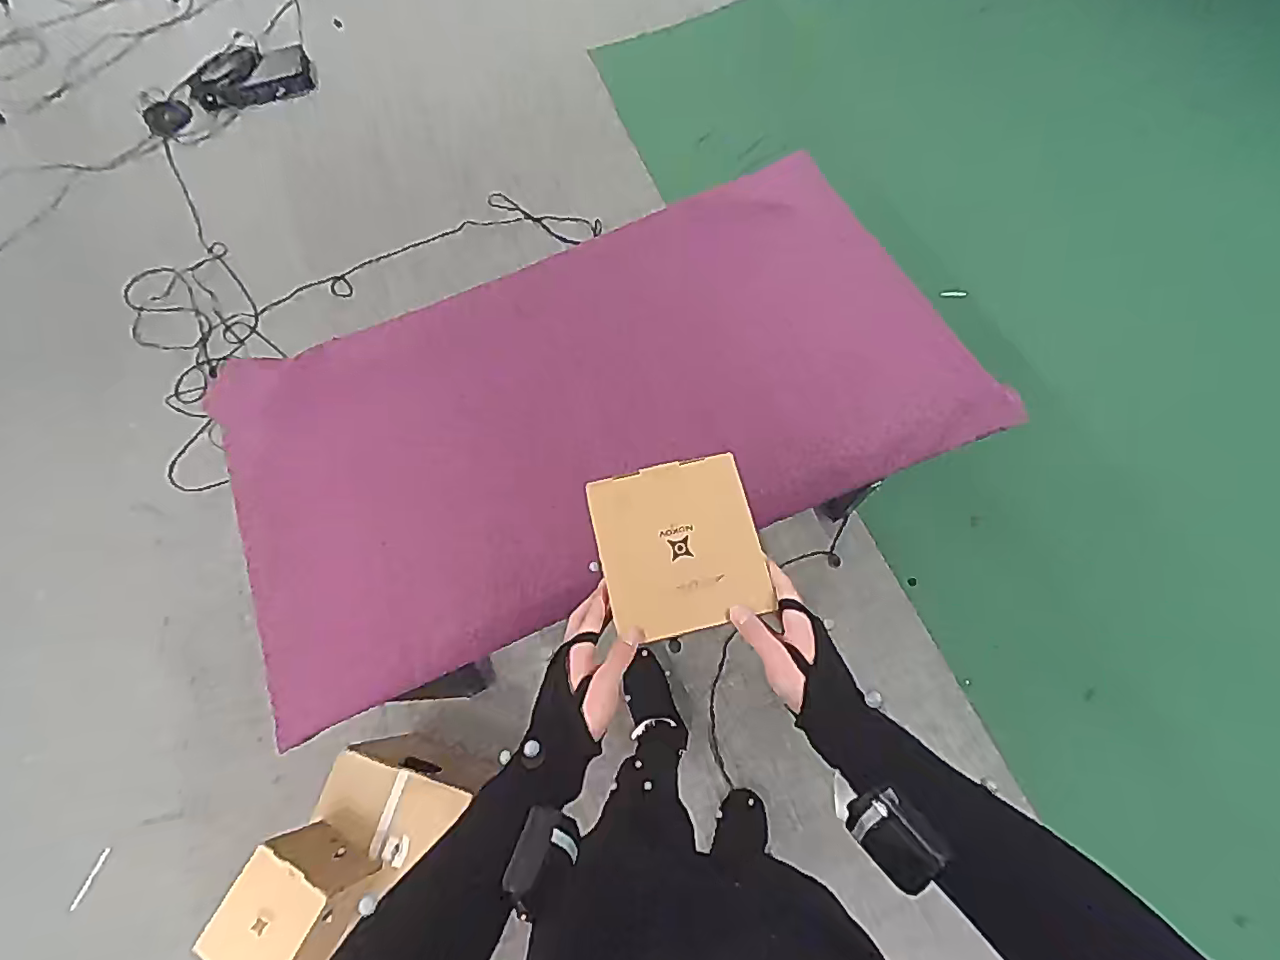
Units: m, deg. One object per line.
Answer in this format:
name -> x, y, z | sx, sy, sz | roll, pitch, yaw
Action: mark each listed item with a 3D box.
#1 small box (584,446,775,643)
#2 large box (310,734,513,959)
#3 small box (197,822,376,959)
small box -> 0.034, 0.083, 0.624 | 0.168, 0.176, 0.179 | -12, 73, -4
large box -> -0.529, 0.830, 1.205 | 0.320, 0.320, 0.408 | 14, 70, 8
small box -> -0.621, 0.763, 0.976 | 0.168, 0.176, 0.179 | 25, 73, 15
